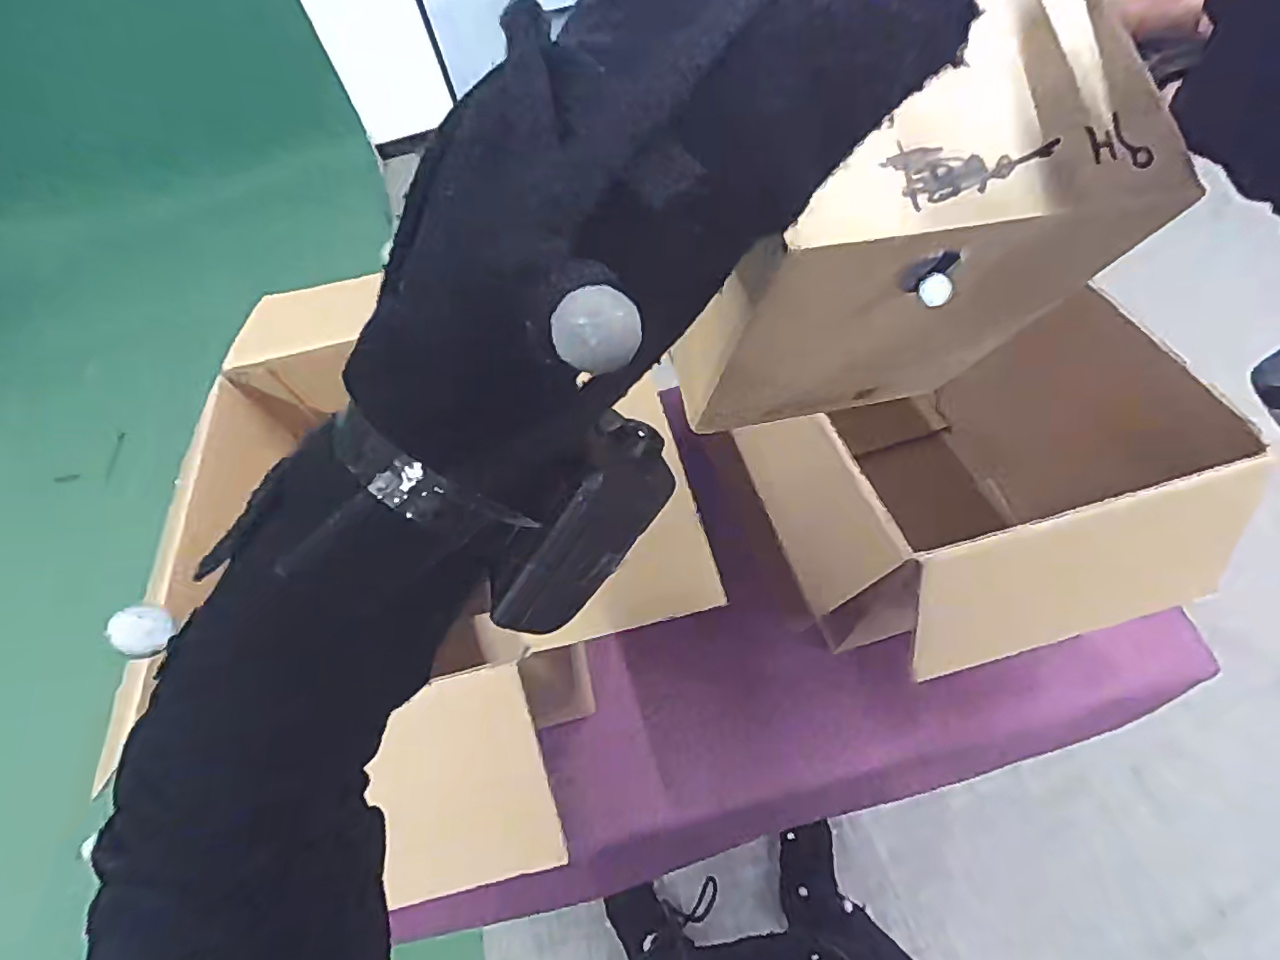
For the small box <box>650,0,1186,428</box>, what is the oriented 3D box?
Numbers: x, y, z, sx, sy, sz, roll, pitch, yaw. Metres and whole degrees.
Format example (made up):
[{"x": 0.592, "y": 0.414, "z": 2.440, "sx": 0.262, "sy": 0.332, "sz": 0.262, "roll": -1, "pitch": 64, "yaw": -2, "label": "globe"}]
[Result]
[{"x": 0.106, "y": -0.149, "z": 0.294, "sx": 0.168, "sy": 0.176, "sz": 0.179, "roll": -11, "pitch": 74, "yaw": -7, "label": "small box"}]
